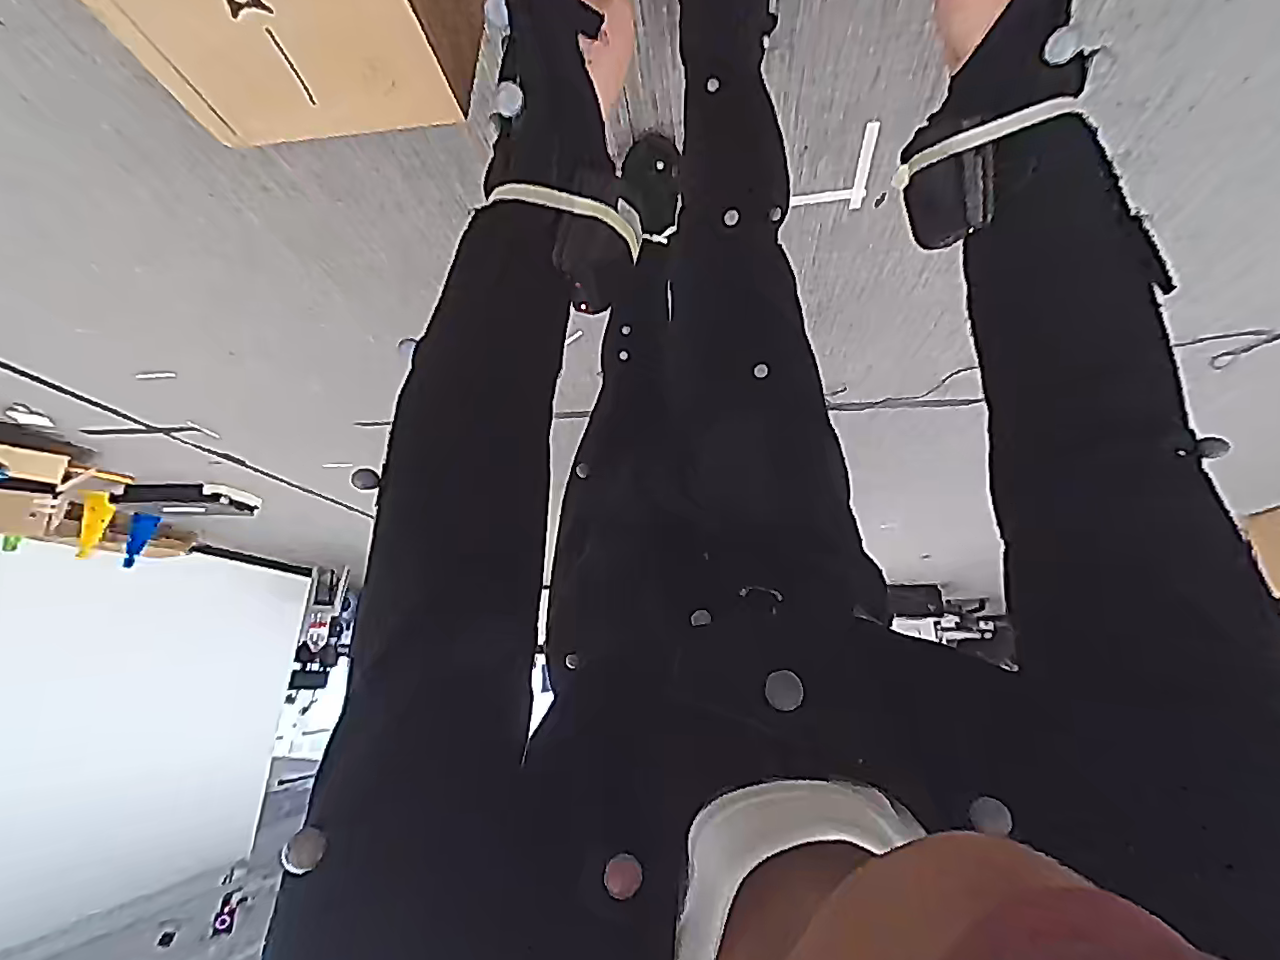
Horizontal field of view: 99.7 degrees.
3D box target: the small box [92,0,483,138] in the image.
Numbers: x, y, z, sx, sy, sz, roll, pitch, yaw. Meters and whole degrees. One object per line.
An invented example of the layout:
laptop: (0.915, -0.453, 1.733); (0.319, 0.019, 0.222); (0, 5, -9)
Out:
small box: (-0.192, -0.322, 0.277); (0.168, 0.176, 0.179); (-1, 161, 7)
